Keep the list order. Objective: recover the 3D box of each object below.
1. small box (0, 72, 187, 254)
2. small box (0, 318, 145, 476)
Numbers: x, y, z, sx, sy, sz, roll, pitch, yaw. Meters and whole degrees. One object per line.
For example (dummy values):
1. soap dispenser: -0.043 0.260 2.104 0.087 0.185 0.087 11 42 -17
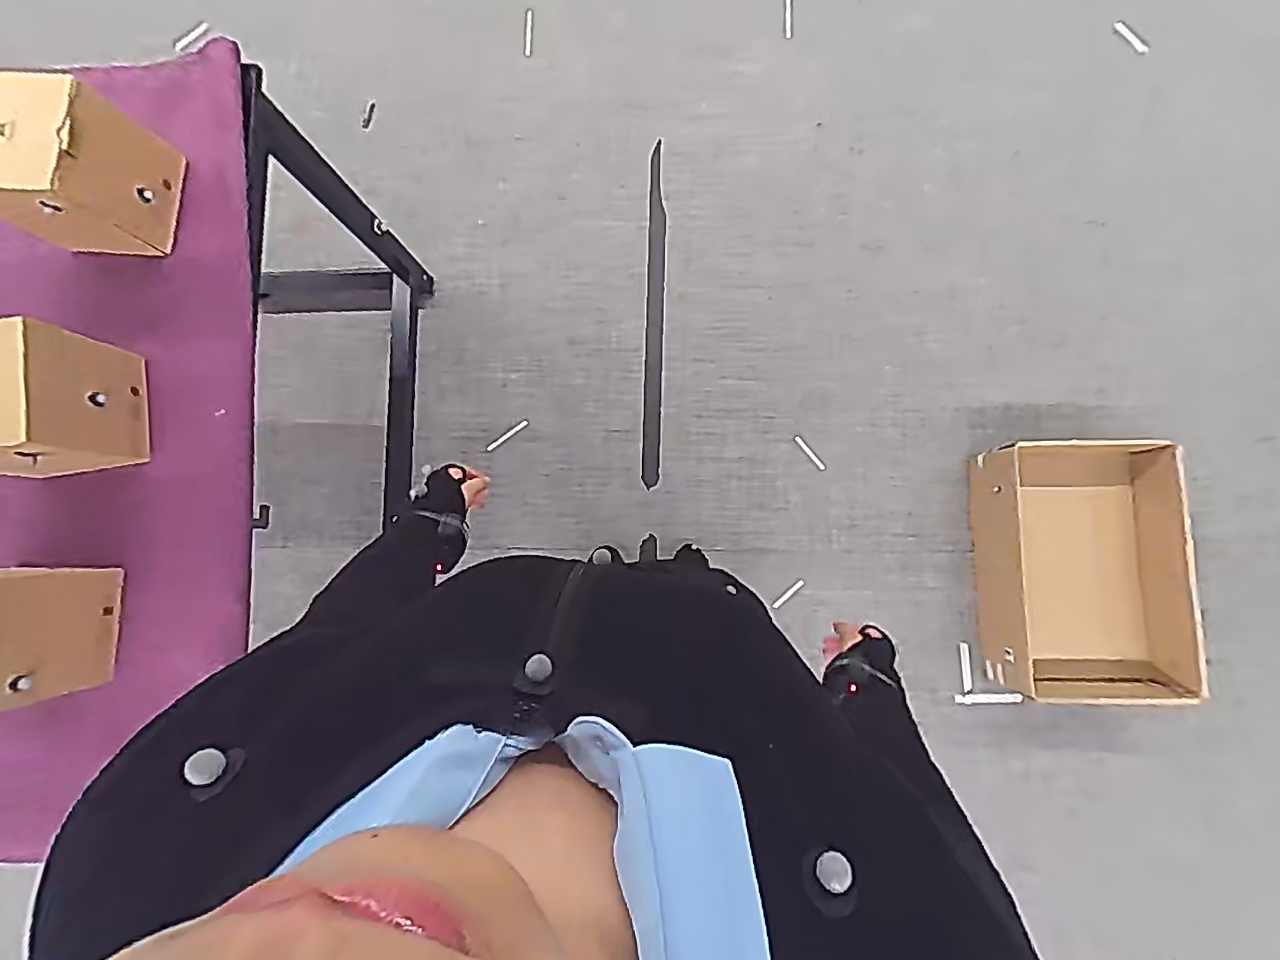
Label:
1. small box: -0.823 -0.447 0.784 0.179 0.176 0.168 4 85 4
2. small box: -0.839 -0.104 0.749 0.179 0.176 0.168 -9 83 2
